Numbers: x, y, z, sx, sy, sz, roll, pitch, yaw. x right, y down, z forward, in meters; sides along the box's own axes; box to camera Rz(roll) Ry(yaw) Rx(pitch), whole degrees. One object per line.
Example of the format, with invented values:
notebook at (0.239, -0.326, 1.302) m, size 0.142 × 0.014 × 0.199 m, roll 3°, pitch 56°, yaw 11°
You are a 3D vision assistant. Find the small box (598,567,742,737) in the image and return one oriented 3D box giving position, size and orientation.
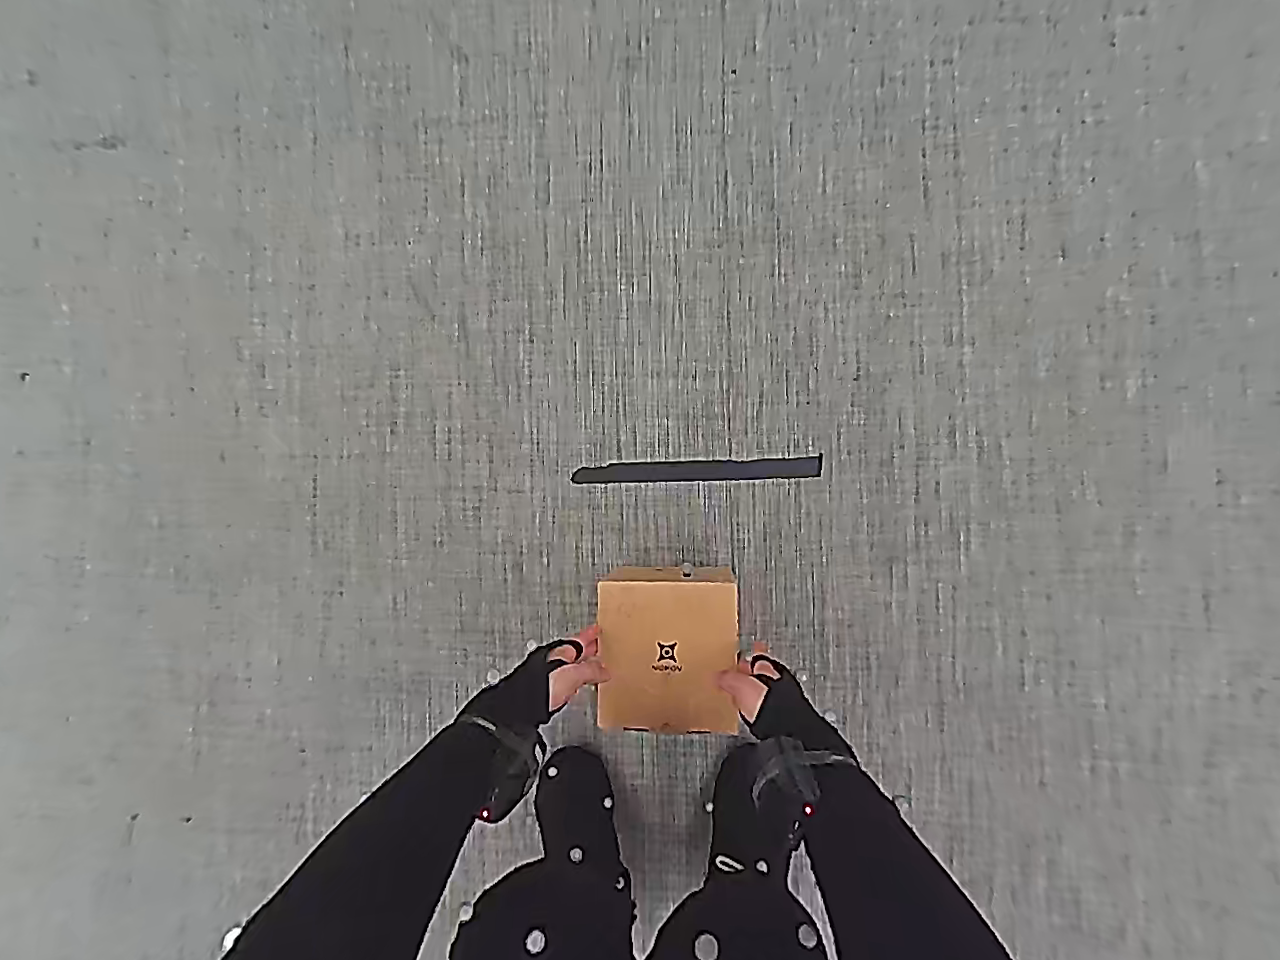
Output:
small box at (0.041, 0.207, 0.701) m, size 0.168 × 0.176 × 0.179 m, roll 0°, pitch 88°, yaw 6°
